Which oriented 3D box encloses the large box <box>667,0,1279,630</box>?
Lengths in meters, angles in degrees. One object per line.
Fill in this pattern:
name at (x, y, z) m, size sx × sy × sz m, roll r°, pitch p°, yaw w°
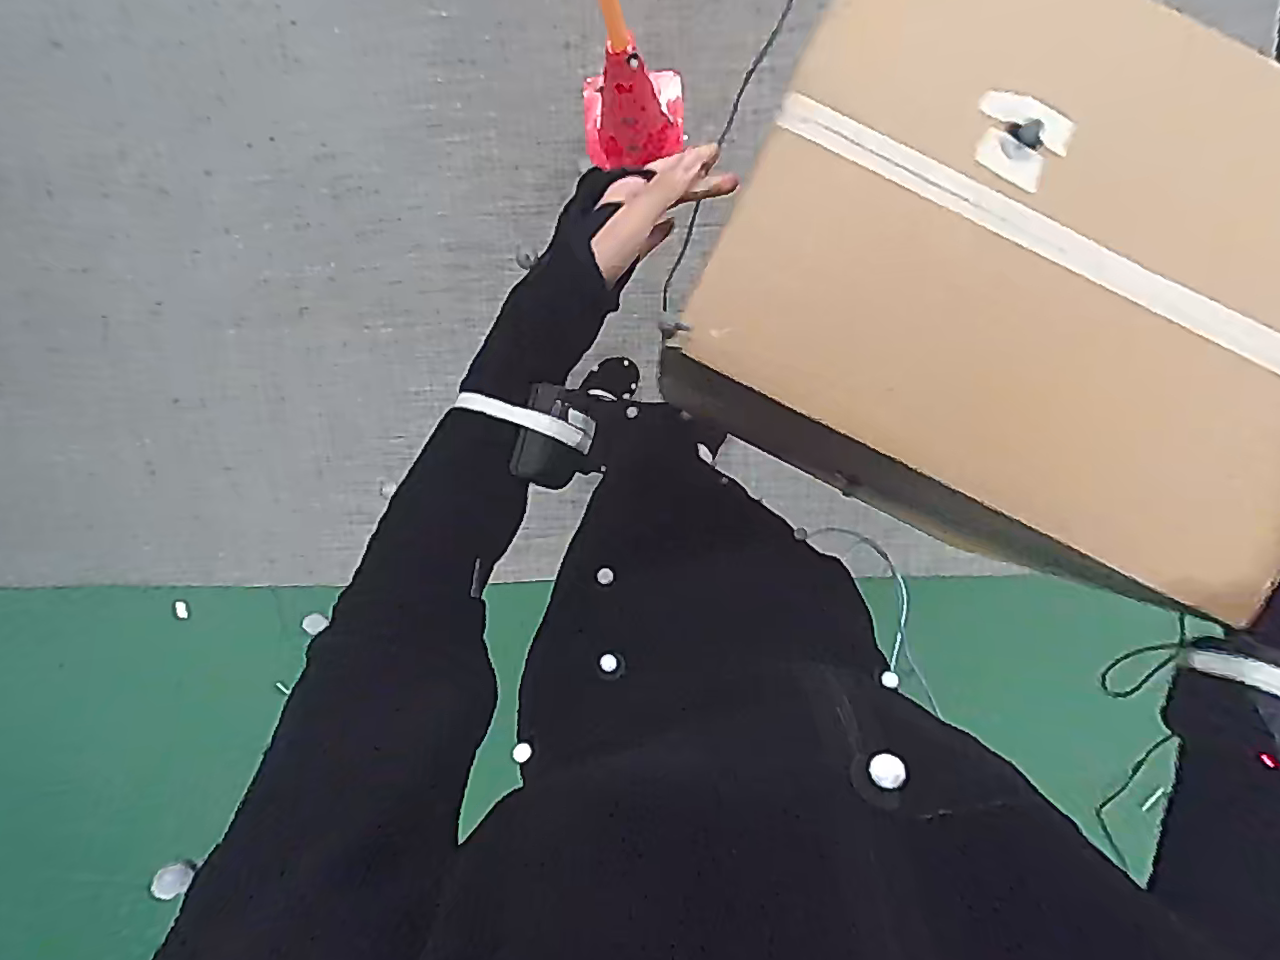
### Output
large box at (0.272, -0.127, 0.498) m, size 0.408 × 0.320 × 0.320 m, roll 27°, pitch 93°, yaw 2°
